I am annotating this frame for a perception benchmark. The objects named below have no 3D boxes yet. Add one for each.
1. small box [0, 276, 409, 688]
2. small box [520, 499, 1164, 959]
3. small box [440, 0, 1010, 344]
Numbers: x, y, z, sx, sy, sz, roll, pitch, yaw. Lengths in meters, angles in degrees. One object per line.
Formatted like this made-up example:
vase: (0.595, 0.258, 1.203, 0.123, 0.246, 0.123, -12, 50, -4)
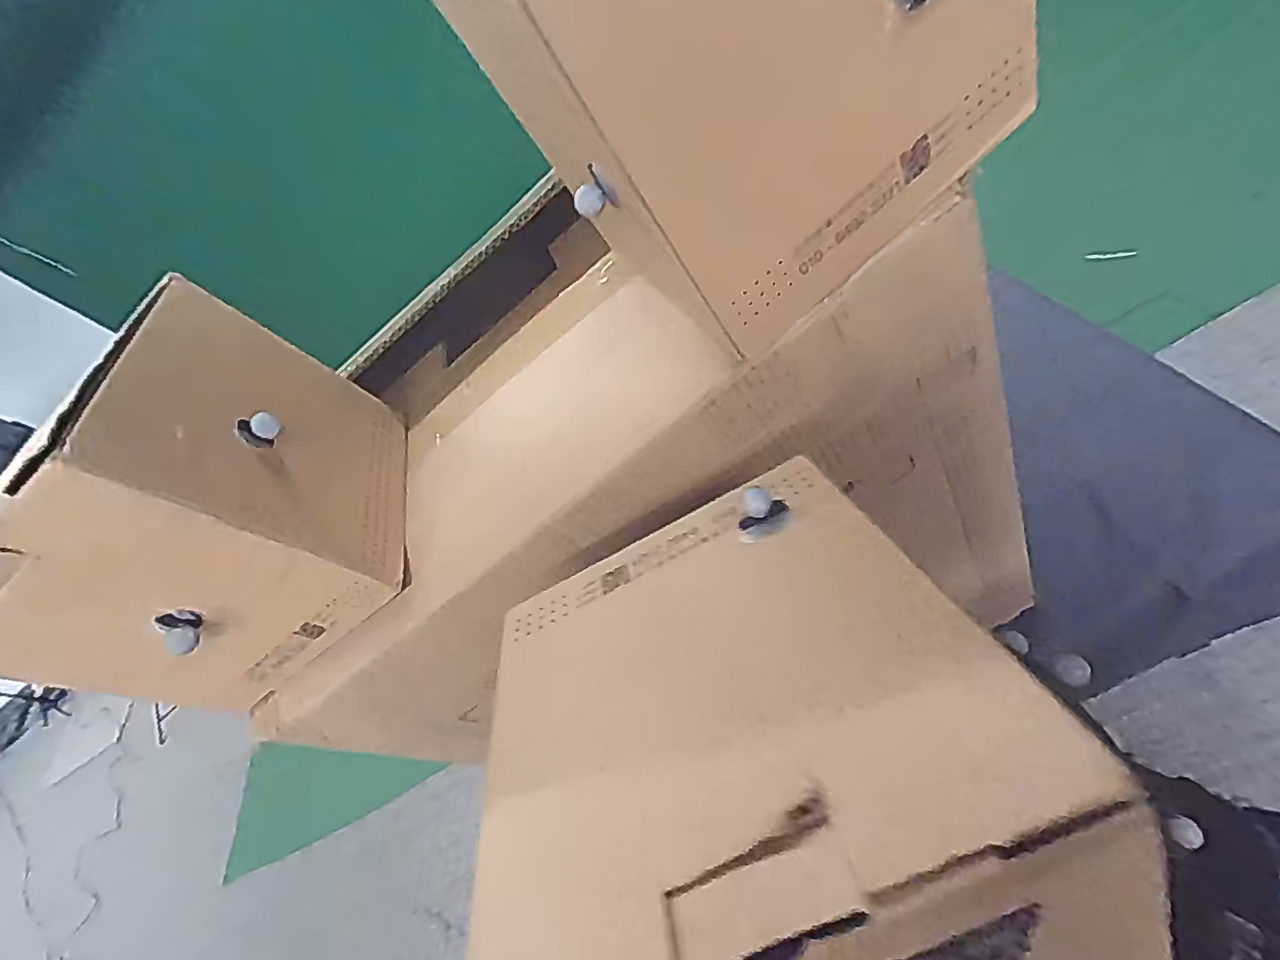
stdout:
small box: (-0.271, 0.016, 0.349, 0.168, 0.176, 0.179, -36, 47, 14)
small box: (0.060, 0.130, 0.229, 0.168, 0.179, 0.176, -28, 28, 5)
small box: (0.038, -0.193, 0.254, 0.168, 0.176, 0.179, -40, 45, 6)
